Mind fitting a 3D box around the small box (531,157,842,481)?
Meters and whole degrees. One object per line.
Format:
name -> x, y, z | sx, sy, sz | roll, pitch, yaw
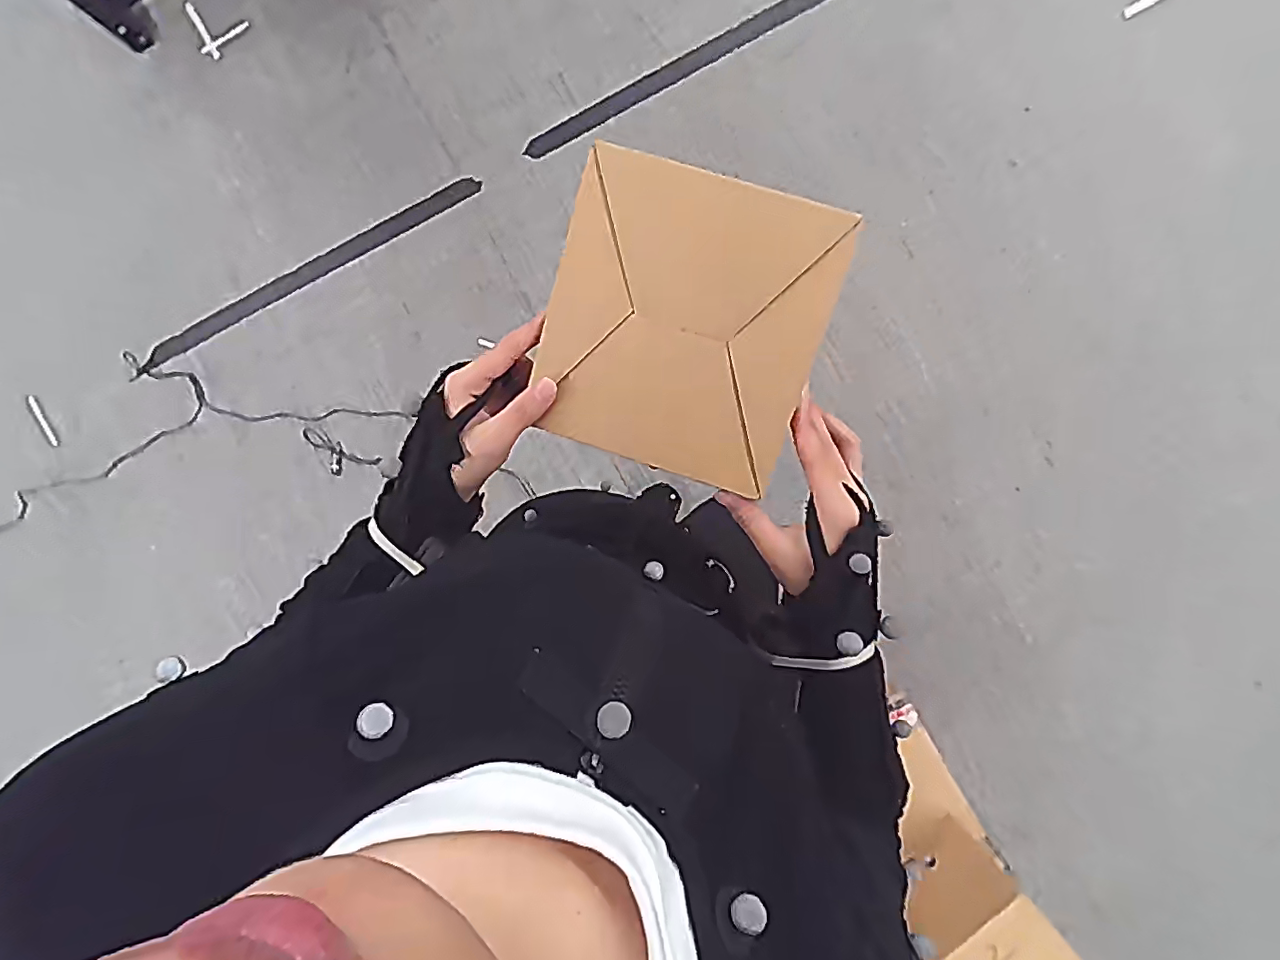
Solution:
small box -> 0.032, -0.106, 0.414 | 0.168, 0.176, 0.179 | 18, 102, 4
